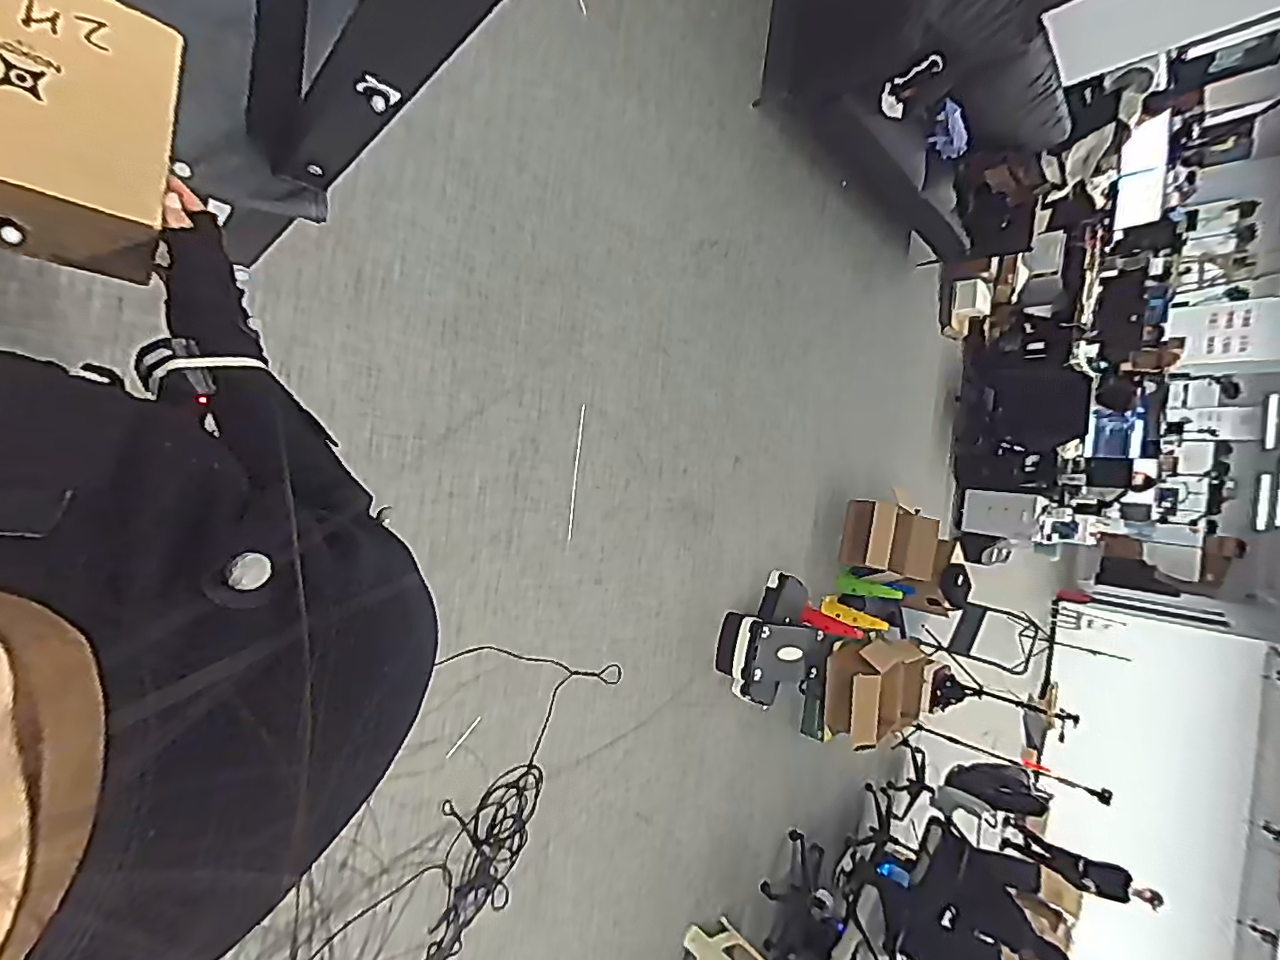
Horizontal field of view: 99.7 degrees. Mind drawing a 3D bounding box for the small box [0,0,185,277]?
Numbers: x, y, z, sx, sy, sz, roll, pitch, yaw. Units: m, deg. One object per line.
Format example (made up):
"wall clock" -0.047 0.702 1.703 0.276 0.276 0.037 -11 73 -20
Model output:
"small box" -0.502 -0.296 0.453 0.168 0.176 0.179 6 83 -45
